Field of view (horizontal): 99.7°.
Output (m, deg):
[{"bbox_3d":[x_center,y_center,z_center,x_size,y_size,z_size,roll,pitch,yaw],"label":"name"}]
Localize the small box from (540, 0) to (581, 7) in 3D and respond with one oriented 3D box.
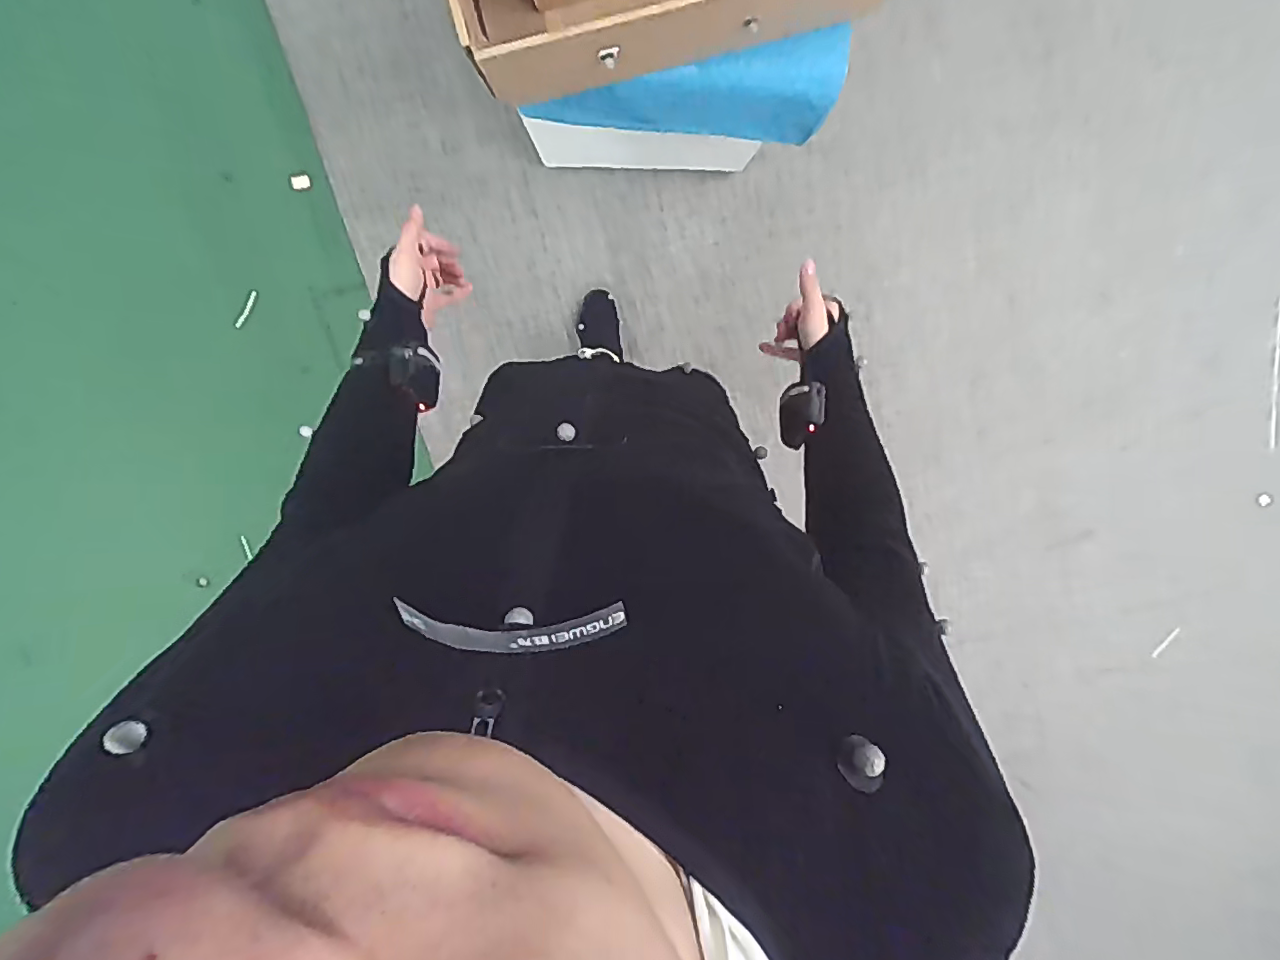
[{"bbox_3d":[-0.076,-0.746,0.675,0.179,0.176,0.168,-14,104,1],"label":"small box"}]
